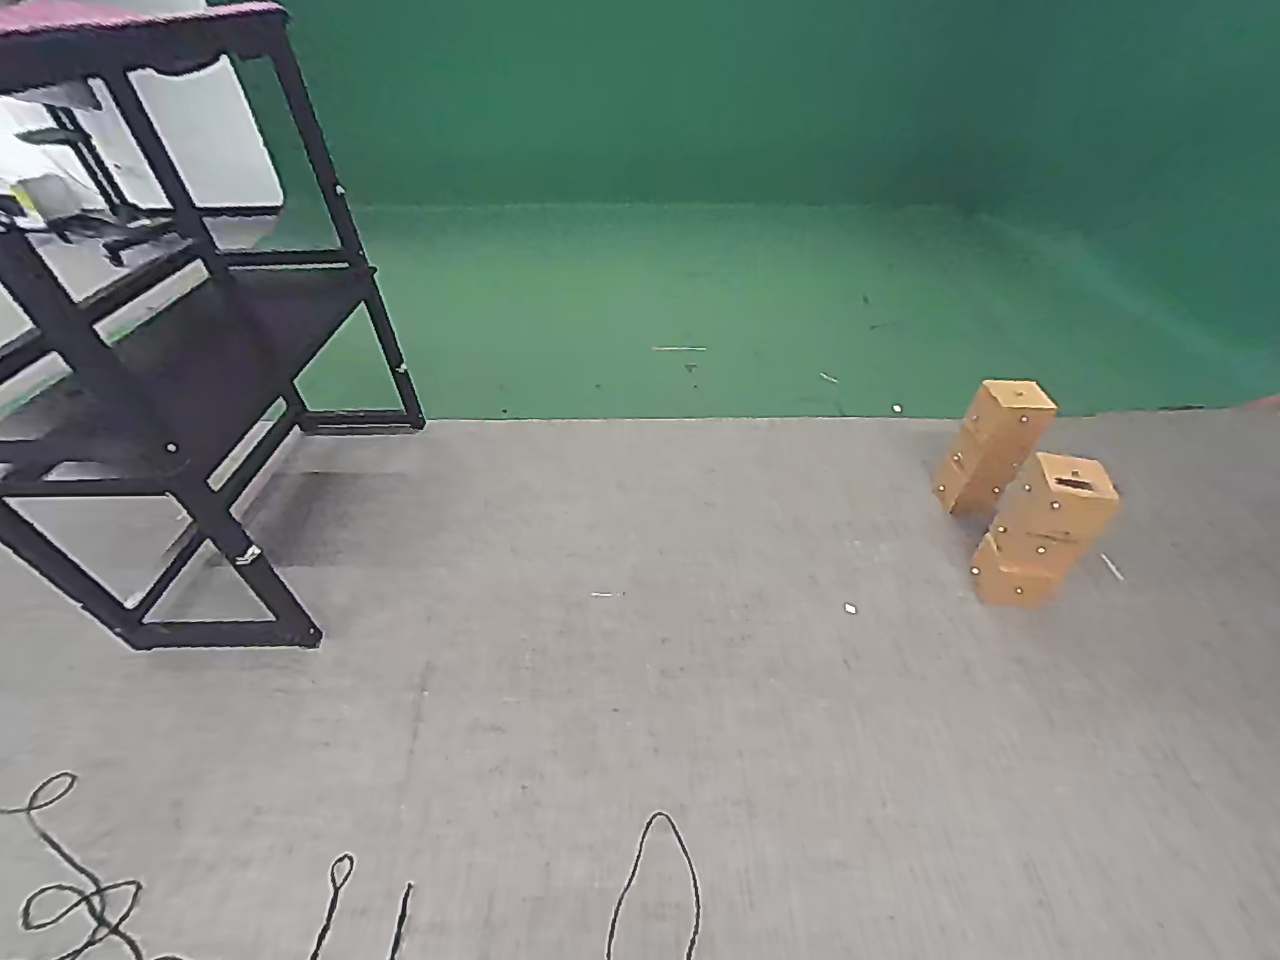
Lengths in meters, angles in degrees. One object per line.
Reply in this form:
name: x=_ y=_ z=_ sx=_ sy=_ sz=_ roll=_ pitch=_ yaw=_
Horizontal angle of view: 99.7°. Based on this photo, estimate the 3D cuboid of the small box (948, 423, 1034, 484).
small box: x=1.269 y=-0.098 z=1.970 sx=0.179 sy=0.176 sz=0.168 roll=-3 pitch=42 yaw=-2

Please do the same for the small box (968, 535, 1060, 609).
small box: x=1.215 y=0.304 z=1.770 sx=0.179 sy=0.176 sz=0.168 roll=6 pitch=43 yaw=8

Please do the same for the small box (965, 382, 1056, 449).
small box: x=1.264 y=-0.219 z=1.860 sx=0.179 sy=0.176 sz=0.168 roll=2 pitch=42 yaw=2

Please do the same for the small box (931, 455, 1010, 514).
small box: x=1.266 y=0.017 z=2.083 sx=0.179 sy=0.176 sz=0.168 roll=-3 pitch=42 yaw=-2

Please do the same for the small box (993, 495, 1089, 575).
small box: x=1.226 y=0.172 z=1.673 sx=0.179 sy=0.176 sz=0.168 roll=9 pitch=43 yaw=11
